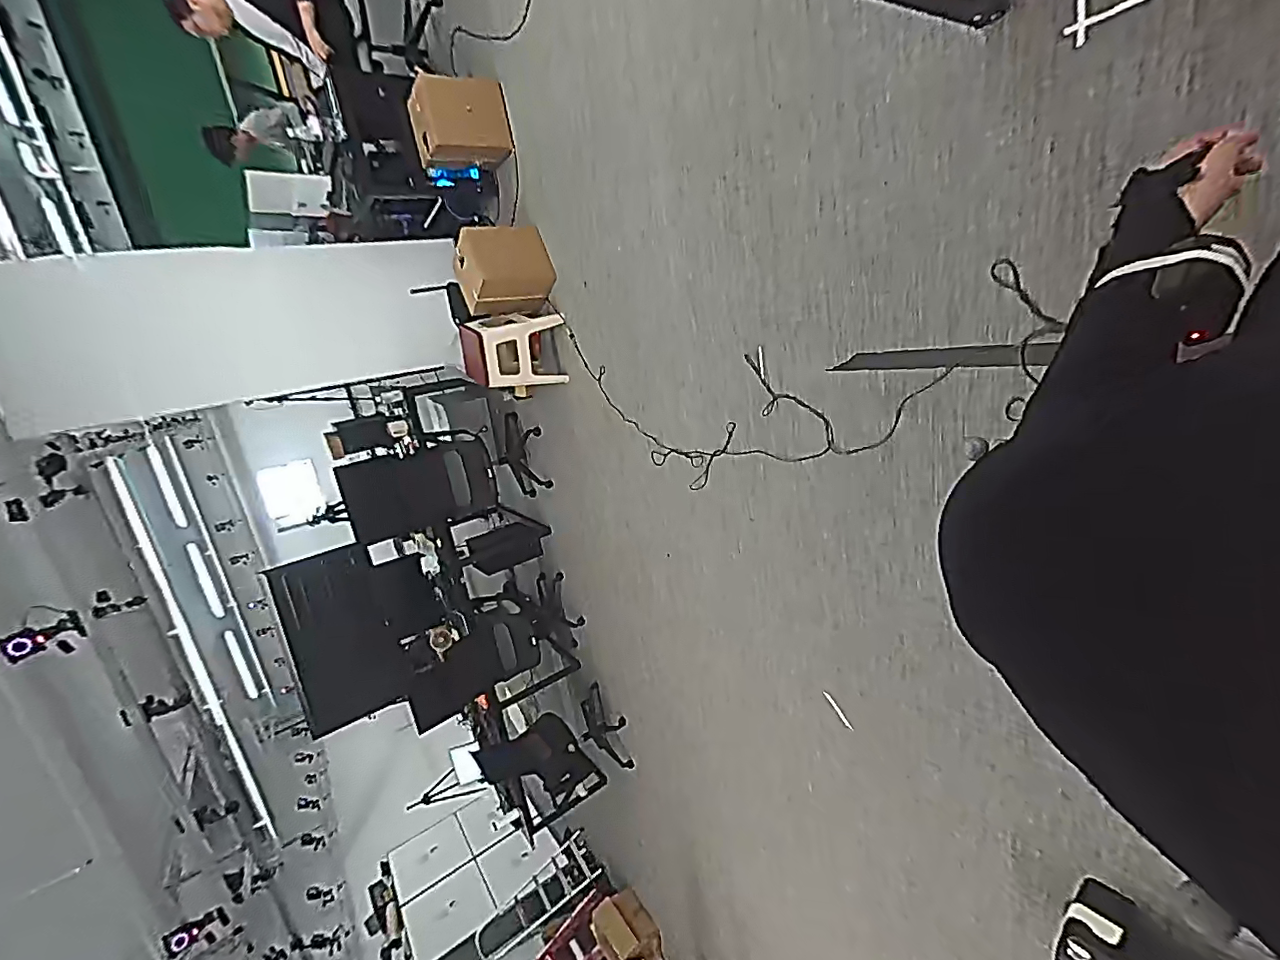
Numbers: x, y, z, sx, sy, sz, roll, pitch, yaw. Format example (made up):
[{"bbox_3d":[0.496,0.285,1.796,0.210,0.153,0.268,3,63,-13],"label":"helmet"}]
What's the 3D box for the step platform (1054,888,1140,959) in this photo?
[{"bbox_3d":[1.327,1.283,1.175,0.684,0.204,0.286,12,117,54],"label":"step platform"}]
